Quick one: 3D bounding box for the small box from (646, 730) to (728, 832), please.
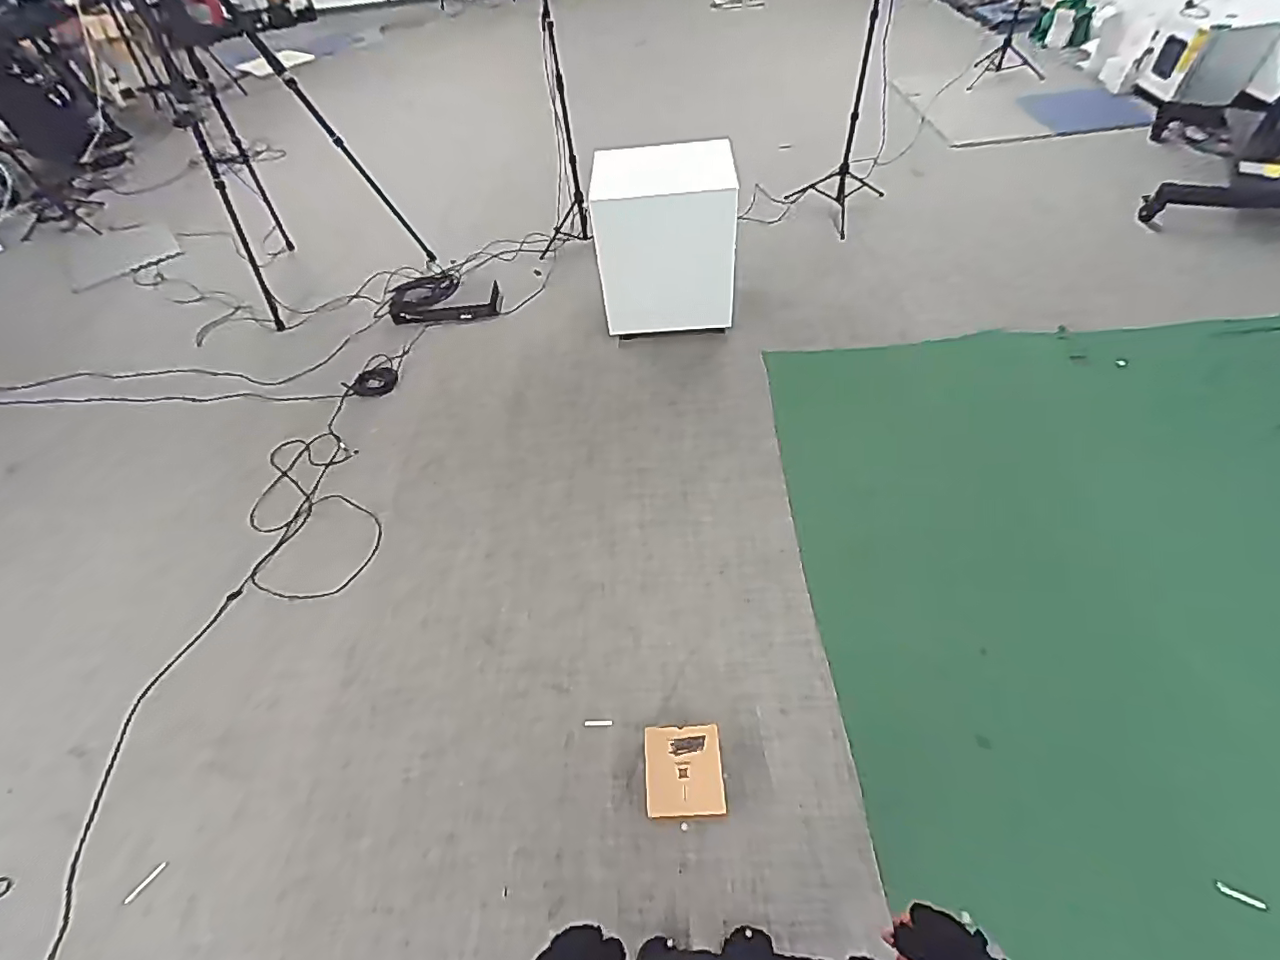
[{"bbox_3d":[0.101,0.679,1.216,0.168,0.176,0.179,-4,53,2],"label":"small box"}]
